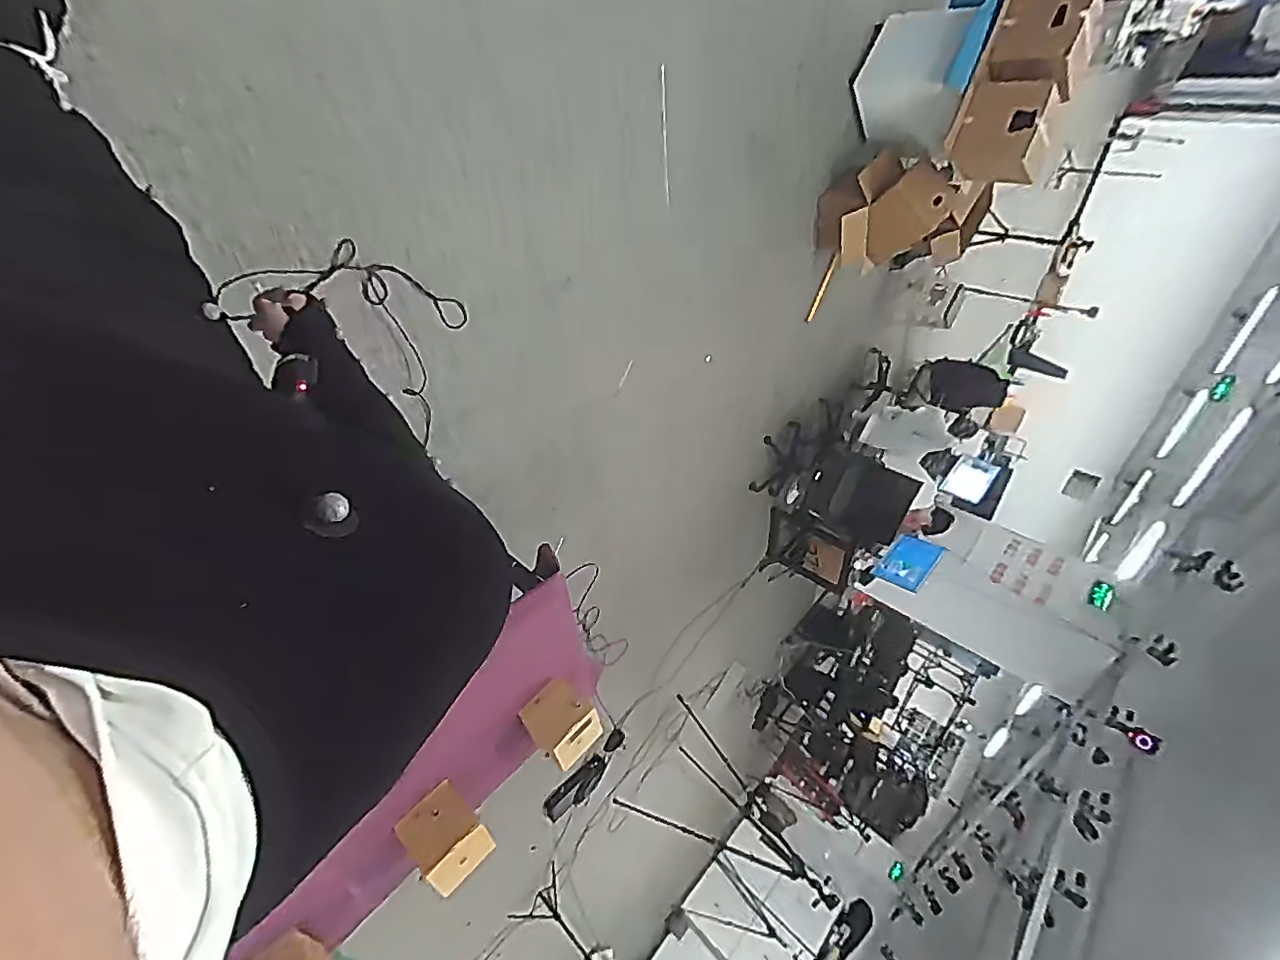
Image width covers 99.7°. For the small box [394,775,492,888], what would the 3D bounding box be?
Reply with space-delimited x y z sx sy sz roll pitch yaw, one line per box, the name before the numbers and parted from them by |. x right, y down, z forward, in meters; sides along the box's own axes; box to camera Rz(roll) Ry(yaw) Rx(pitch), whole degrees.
small box | -0.532 0.946 1.467 0.168 0.176 0.179 -36 138 -32

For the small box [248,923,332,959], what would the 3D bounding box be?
small box | -0.818 1.181 1.250 0.168 0.176 0.179 -38 140 -35
